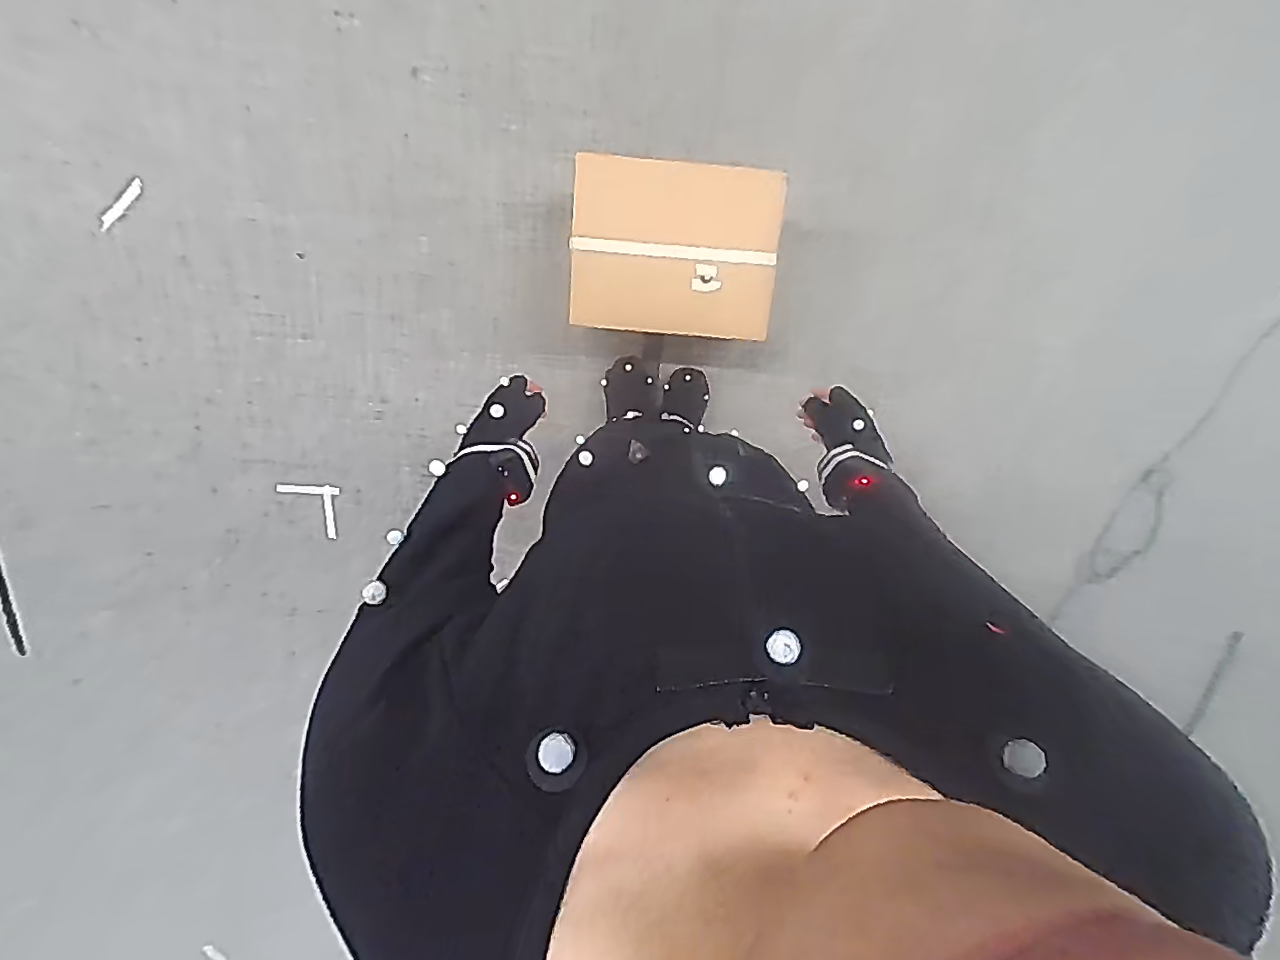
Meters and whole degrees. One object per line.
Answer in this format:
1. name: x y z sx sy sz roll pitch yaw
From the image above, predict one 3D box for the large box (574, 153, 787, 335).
1. large box: 0.067 -0.495 1.197 0.408 0.320 0.320 4 108 -2
